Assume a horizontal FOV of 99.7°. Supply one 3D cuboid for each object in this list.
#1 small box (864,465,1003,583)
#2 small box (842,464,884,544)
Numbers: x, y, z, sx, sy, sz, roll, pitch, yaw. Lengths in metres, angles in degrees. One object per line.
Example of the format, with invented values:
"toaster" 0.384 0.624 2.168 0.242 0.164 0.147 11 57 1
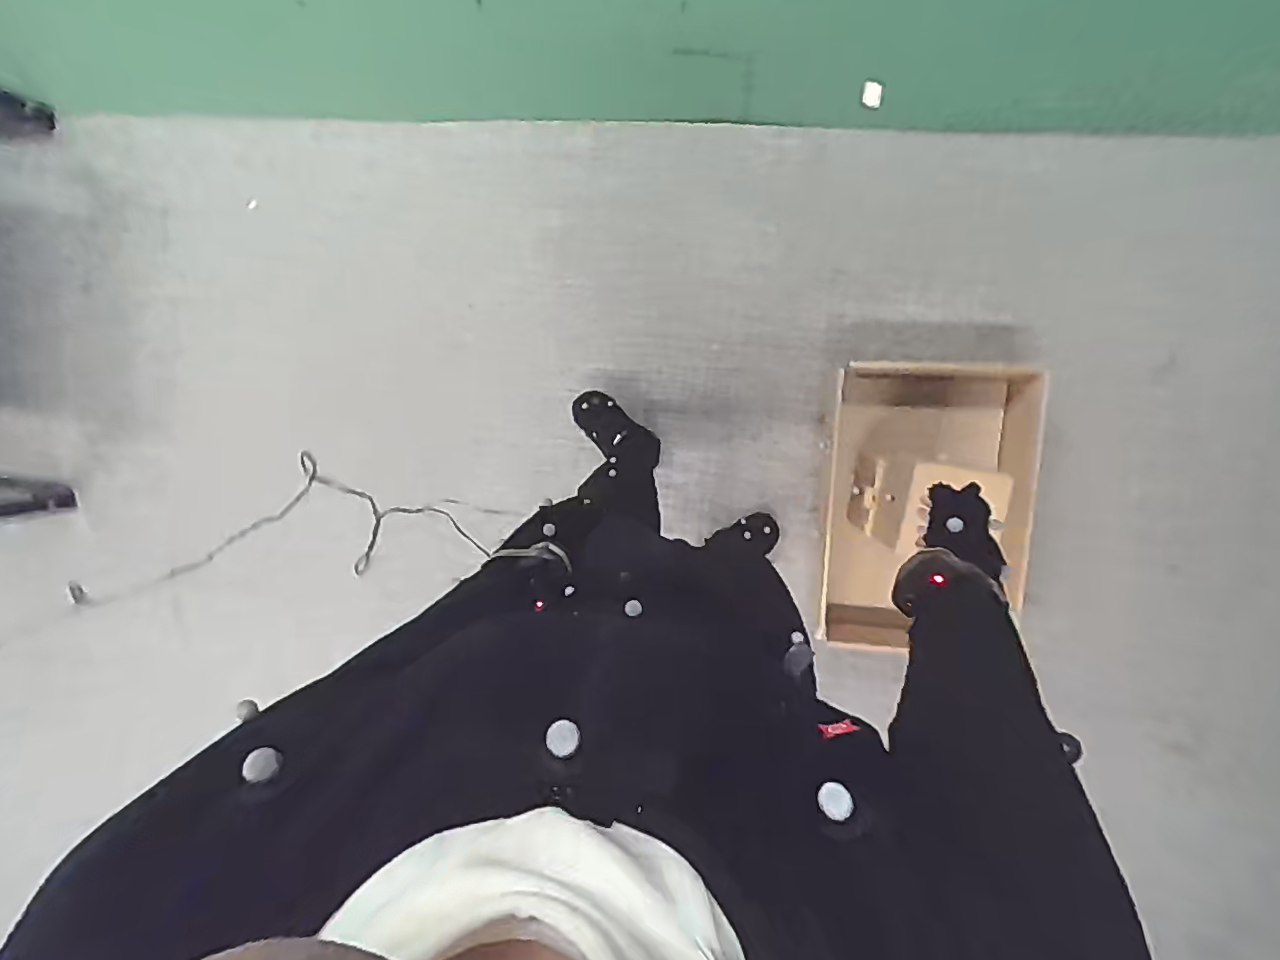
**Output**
"small box" 0.544 0.075 1.031 0.168 0.176 0.179 12 97 7
"small box" 0.560 0.059 1.194 0.179 0.176 0.168 10 98 8
